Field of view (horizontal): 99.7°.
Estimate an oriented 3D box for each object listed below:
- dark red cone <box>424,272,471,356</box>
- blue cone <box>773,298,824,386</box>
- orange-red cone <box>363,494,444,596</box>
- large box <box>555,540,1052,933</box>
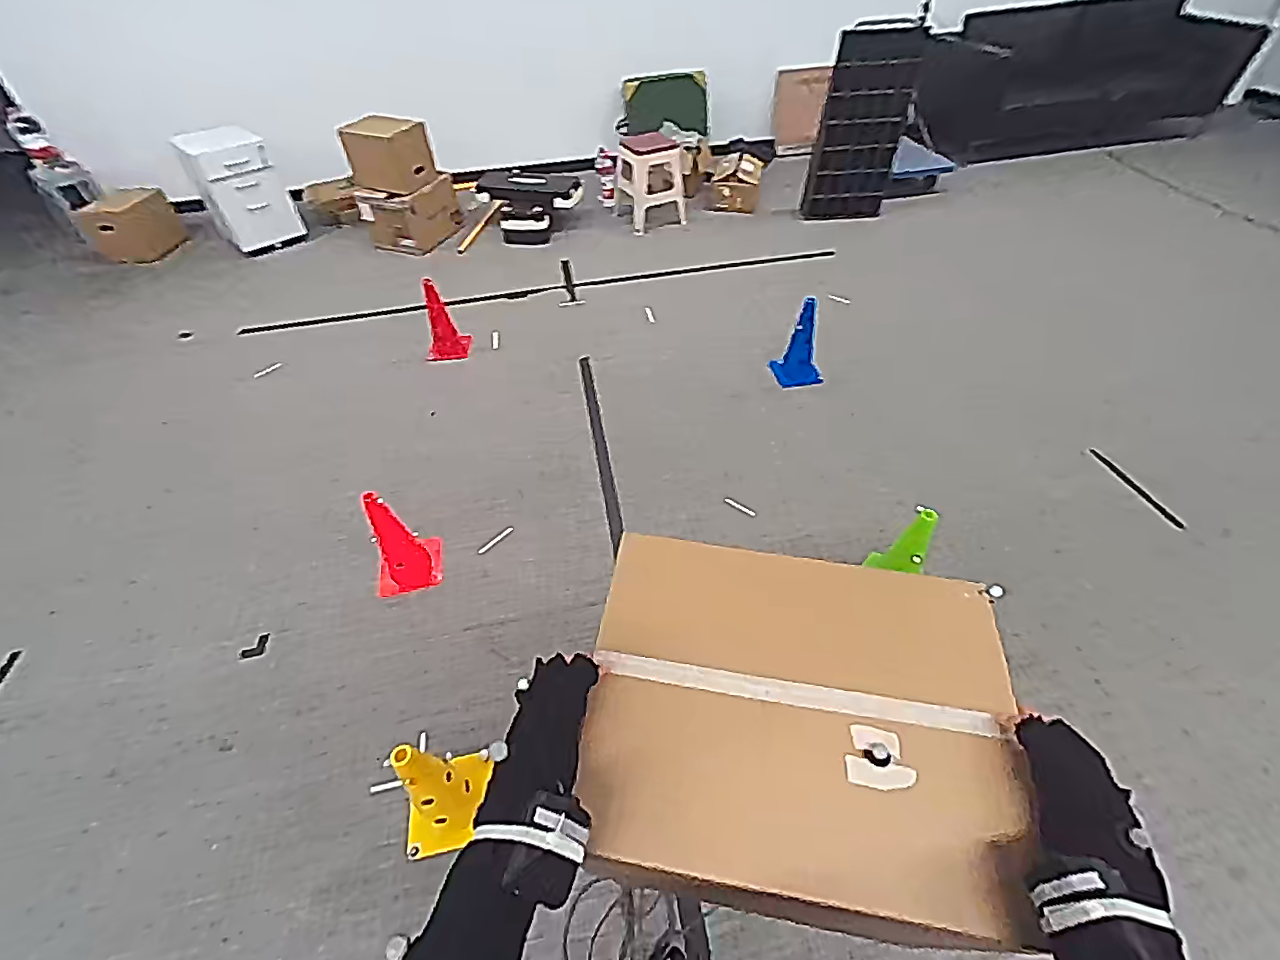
[{"bbox_3d":[-0.939,-0.779,2.536,0.201,0.394,0.202,-5,47,-3],"label":"dark red cone"},{"bbox_3d":[0.710,-0.604,2.331,0.192,0.380,0.193,-7,47,-4],"label":"blue cone"},{"bbox_3d":[-0.760,0.172,1.667,0.198,0.360,0.199,-12,49,-7],"label":"orange-red cone"},{"bbox_3d":[0.143,0.302,0.639,0.408,0.320,0.320,7,51,6],"label":"large box"}]
